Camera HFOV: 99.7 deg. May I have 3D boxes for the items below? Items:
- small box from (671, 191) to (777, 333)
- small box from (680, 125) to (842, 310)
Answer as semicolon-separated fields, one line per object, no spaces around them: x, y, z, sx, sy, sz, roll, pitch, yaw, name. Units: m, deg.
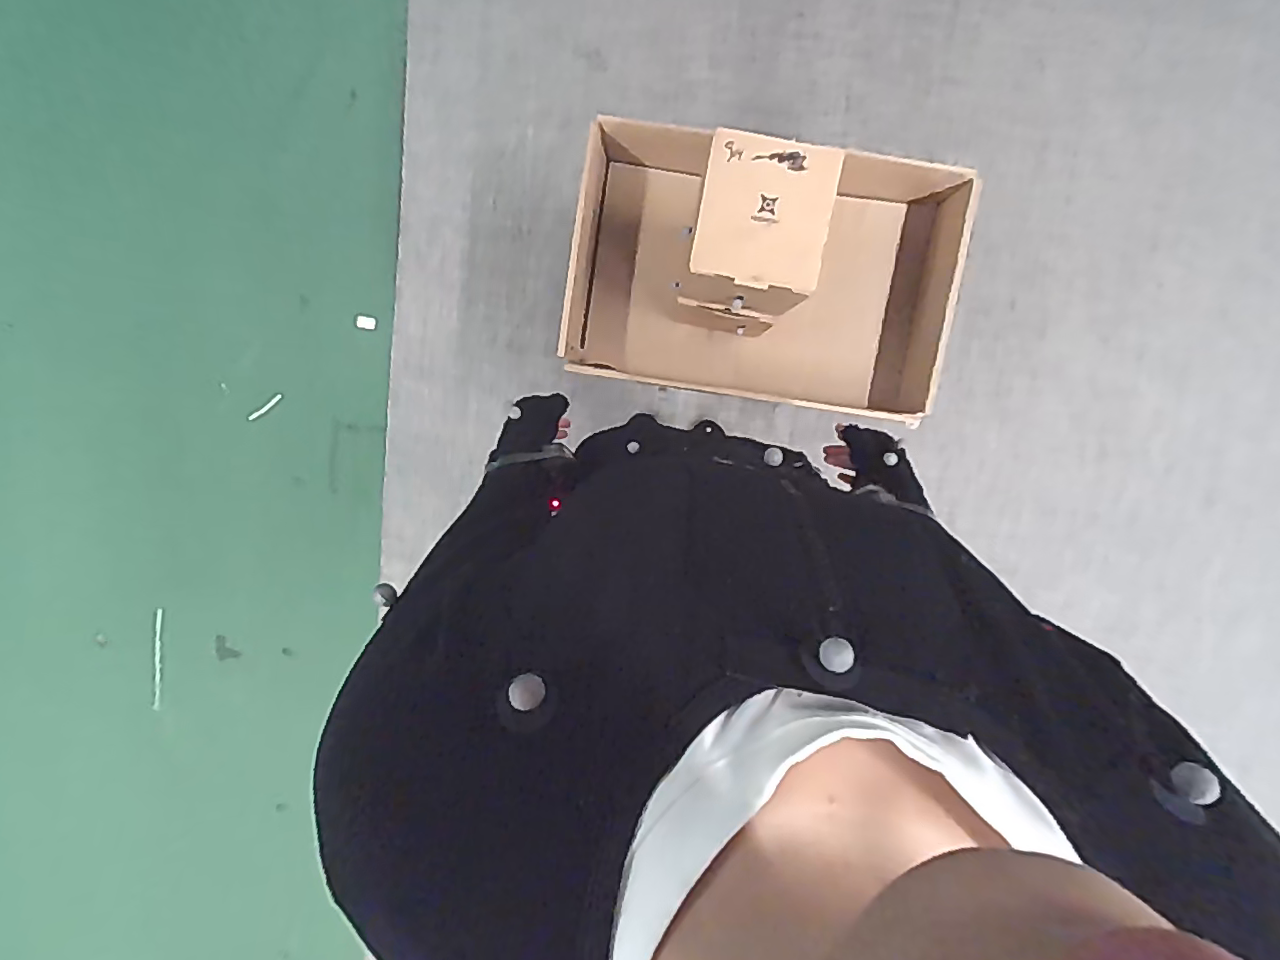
0.150;-0.358;0.917;0.168;0.176;0.179;11;96;-2;small box
0.153;-0.347;0.753;0.168;0.176;0.179;11;98;-2;small box
